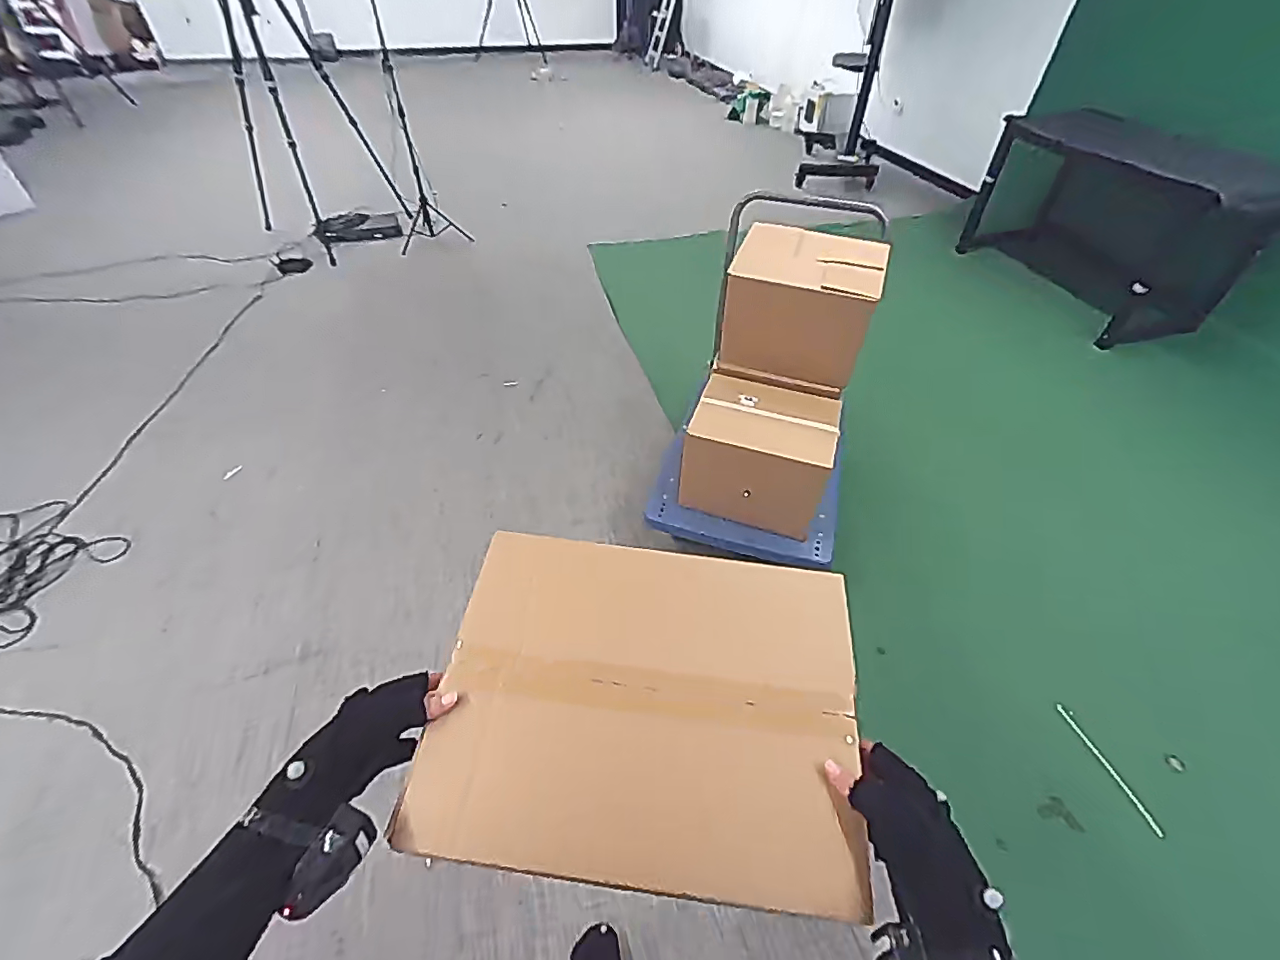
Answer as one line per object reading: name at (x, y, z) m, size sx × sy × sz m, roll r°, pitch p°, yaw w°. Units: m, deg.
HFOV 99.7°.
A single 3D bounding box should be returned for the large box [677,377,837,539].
large box at (0.351, -0.069, 1.652) m, size 0.408 × 0.320 × 0.320 m, roll 15°, pitch 47°, yaw 14°
